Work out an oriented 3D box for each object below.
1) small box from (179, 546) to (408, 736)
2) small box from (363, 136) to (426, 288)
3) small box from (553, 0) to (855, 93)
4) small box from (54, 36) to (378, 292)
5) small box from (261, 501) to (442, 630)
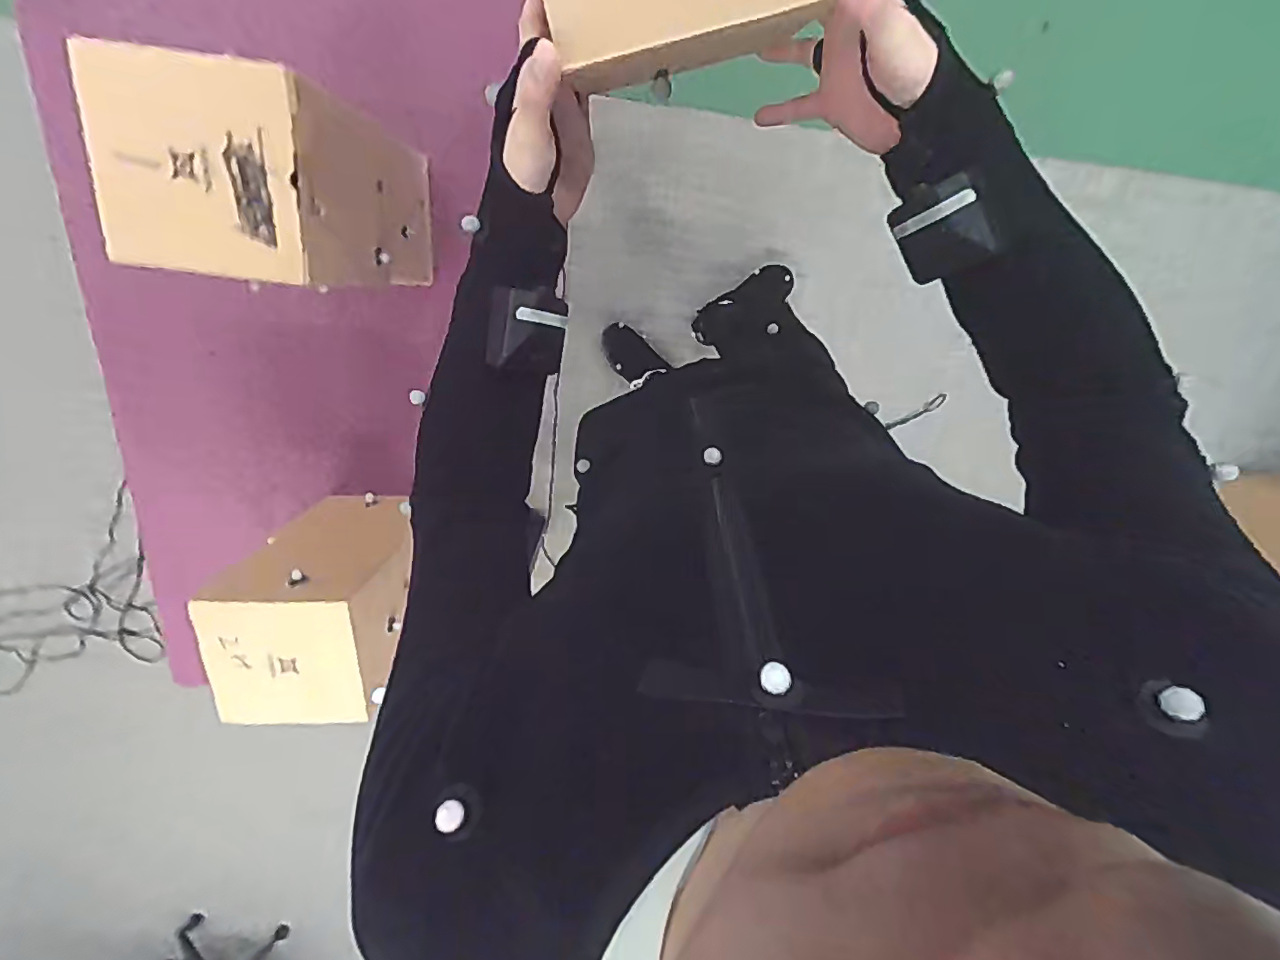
[{"bbox_3d":[-0.405,0.190,0.672,0.179,0.176,0.168,1,108,-2],"label":"small box"},{"bbox_3d":[-0.378,-0.332,0.670,0.179,0.176,0.168,4,109,-1],"label":"small box"},{"bbox_3d":[0.021,-0.359,0.322,0.168,0.176,0.179,-9,121,5],"label":"small box"},{"bbox_3d":[-0.368,-0.277,0.515,0.179,0.176,0.168,7,109,-2],"label":"small box"},{"bbox_3d":[-0.426,0.137,0.829,0.179,0.176,0.168,0,109,-1],"label":"small box"}]
